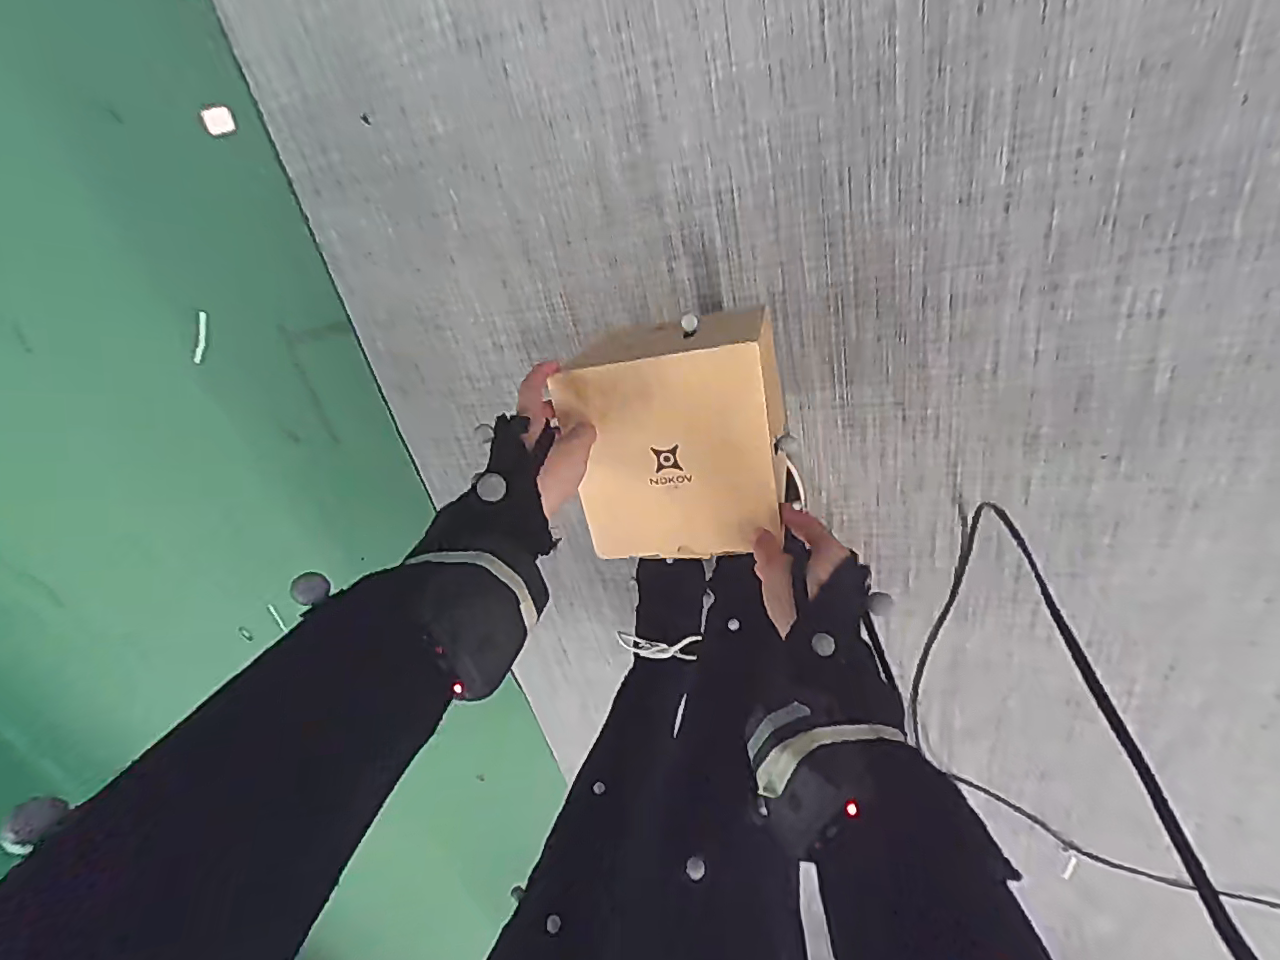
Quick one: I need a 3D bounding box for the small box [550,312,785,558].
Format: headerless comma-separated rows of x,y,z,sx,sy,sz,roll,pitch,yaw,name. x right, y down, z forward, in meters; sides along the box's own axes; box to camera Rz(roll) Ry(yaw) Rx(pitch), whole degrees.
0.040,-0.049,0.500,0.168,0.176,0.179,-6,115,17,small box
